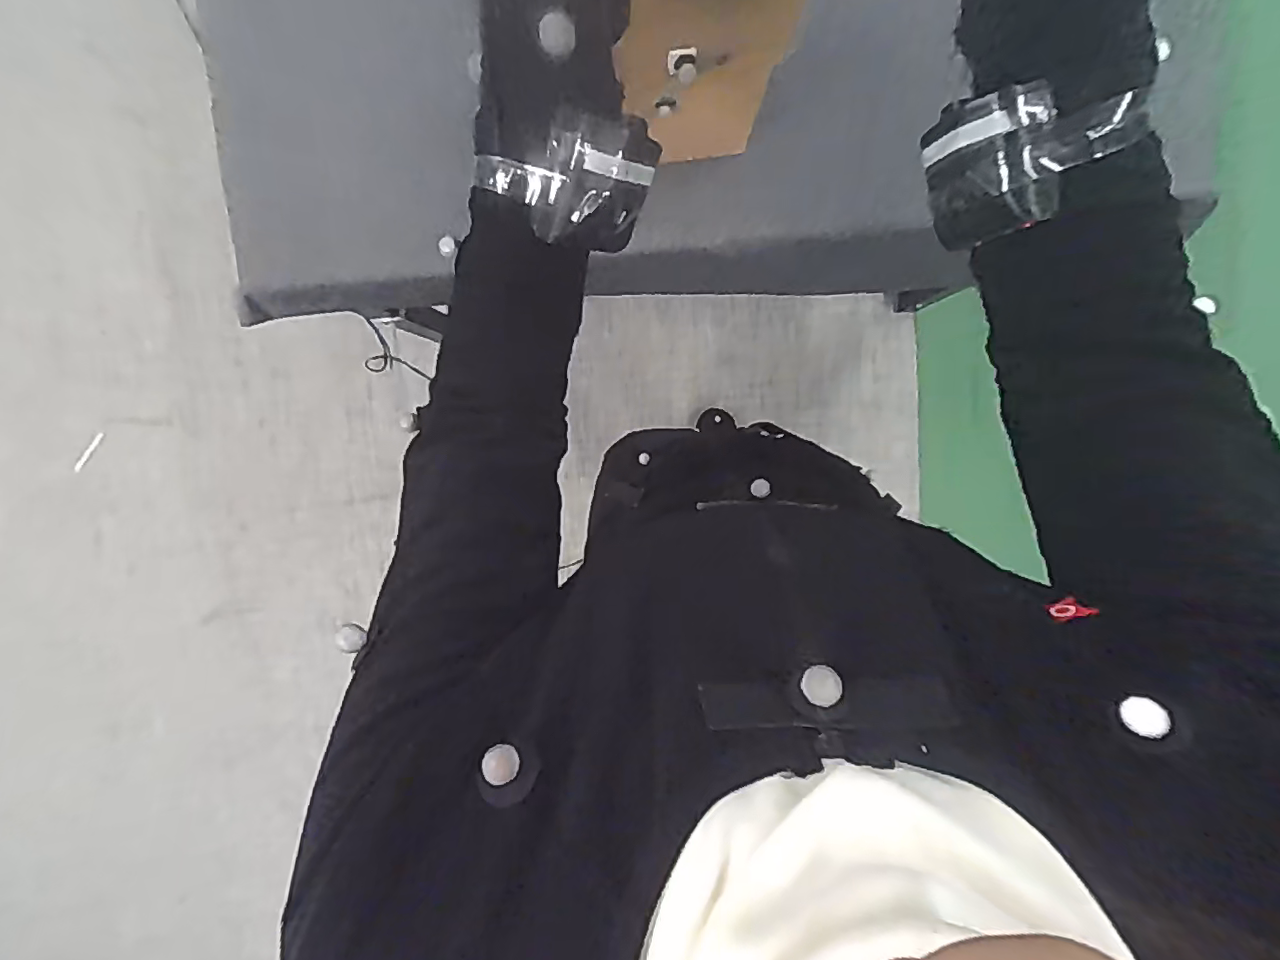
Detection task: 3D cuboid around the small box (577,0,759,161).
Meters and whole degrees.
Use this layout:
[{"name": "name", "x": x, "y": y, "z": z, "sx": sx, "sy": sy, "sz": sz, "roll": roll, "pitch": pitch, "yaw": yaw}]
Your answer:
[{"name": "small box", "x": 0.031, "y": -0.467, "z": 0.576, "sx": 0.179, "sy": 0.176, "sz": 0.168, "roll": -5, "pitch": 96, "yaw": 2}]
